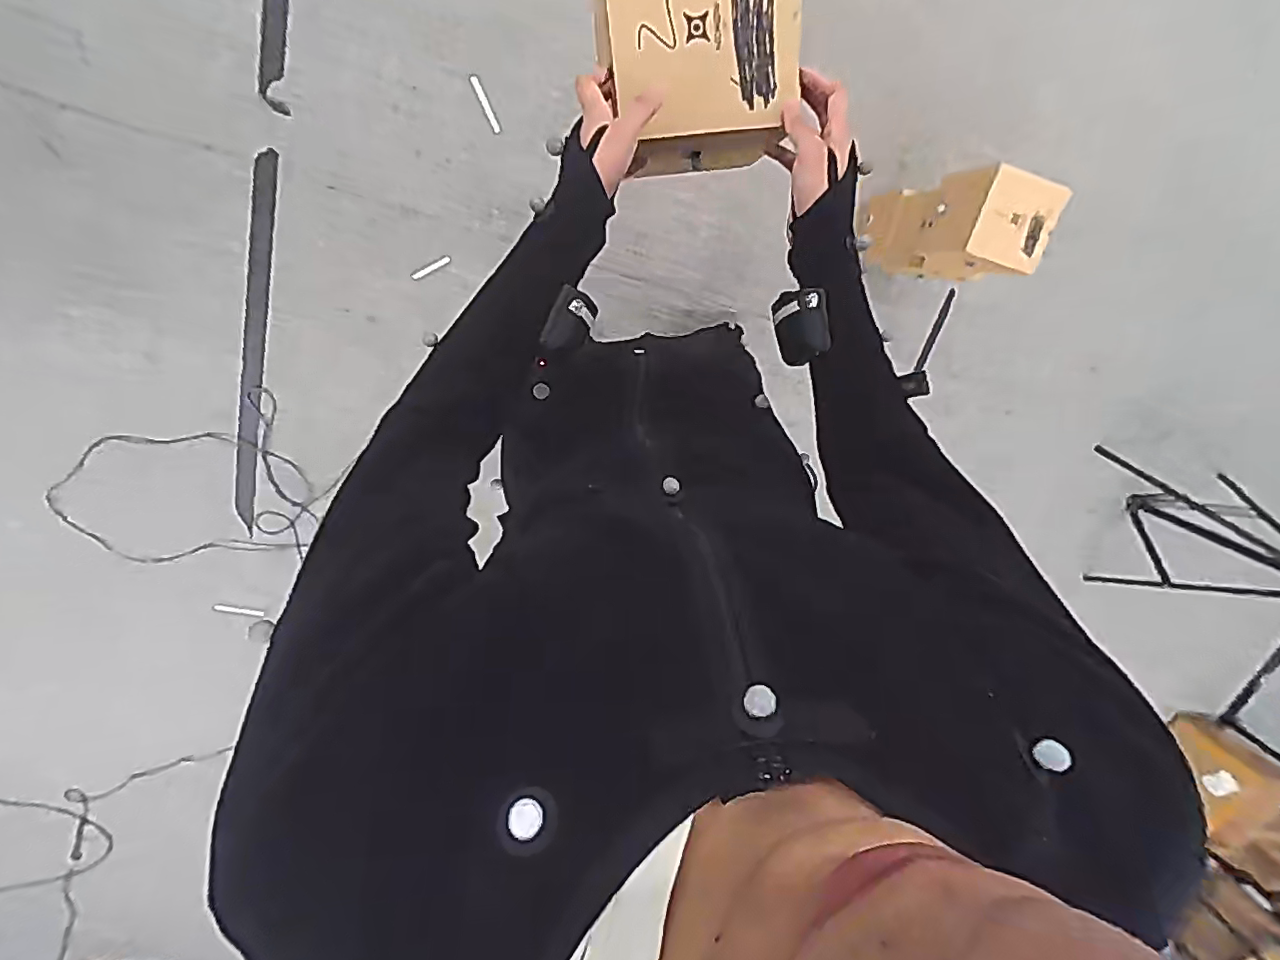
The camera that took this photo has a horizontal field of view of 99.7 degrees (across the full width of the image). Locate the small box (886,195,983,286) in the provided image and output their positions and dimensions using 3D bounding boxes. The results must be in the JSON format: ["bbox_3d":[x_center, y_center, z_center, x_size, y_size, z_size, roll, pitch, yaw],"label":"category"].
[{"bbox_3d":[0.730,-0.580,1.305,0.168,0.176,0.179,8,111,-12],"label":"small box"}]

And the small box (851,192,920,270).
[{"bbox_3d":[0.705,-0.656,1.449,0.179,0.176,0.168,9,111,-13],"label":"small box"}]

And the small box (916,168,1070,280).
[{"bbox_3d":[0.736,-0.535,1.145,0.179,0.176,0.168,12,109,-13],"label":"small box"}]
